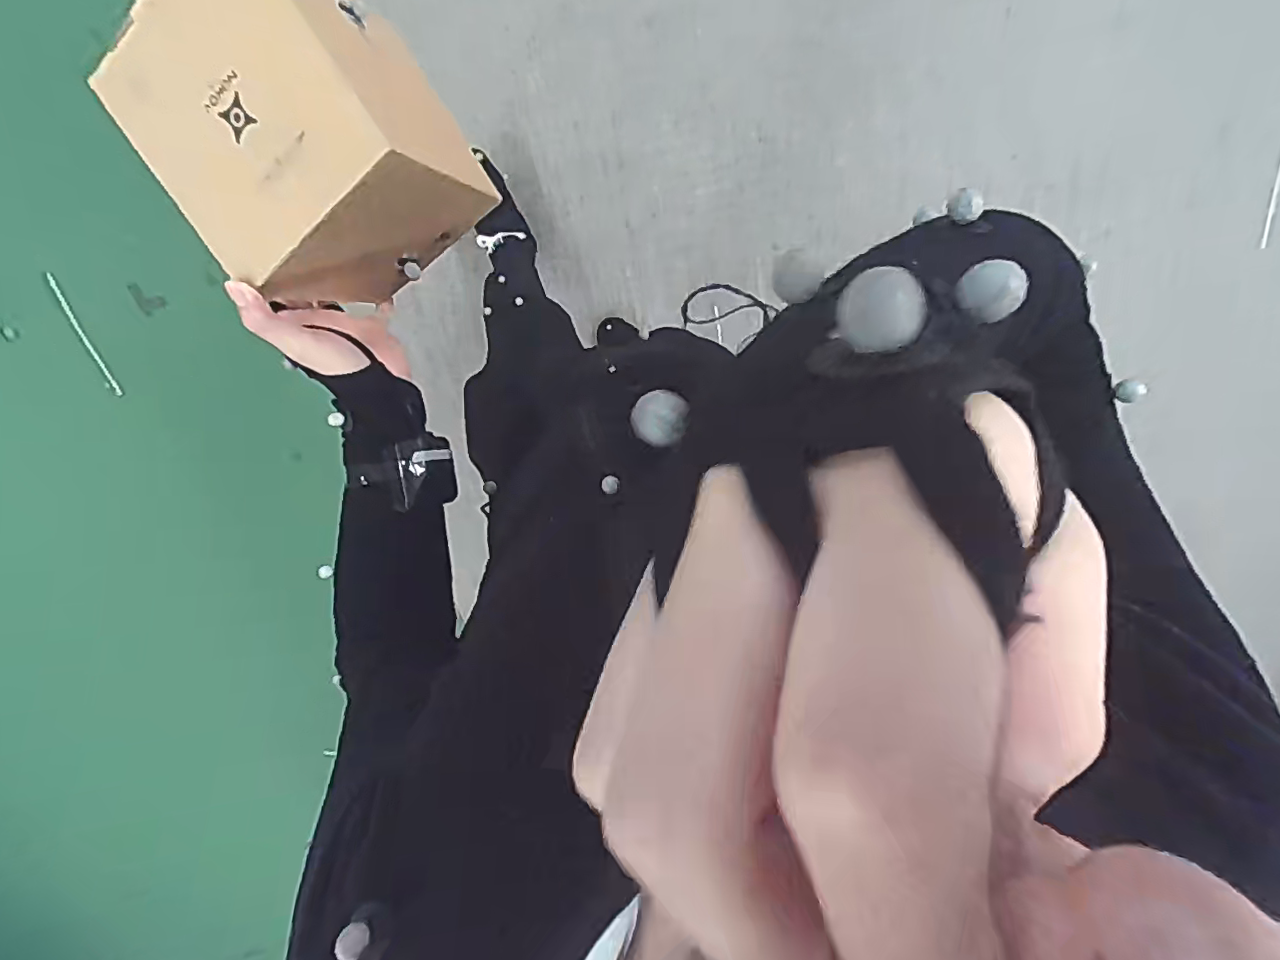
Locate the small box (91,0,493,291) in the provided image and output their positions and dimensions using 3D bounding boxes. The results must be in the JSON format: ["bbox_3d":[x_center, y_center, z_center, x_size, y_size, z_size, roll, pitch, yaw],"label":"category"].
[{"bbox_3d":[-0.257,-0.274,0.440,0.168,0.176,0.179,-30,98,18],"label":"small box"}]
